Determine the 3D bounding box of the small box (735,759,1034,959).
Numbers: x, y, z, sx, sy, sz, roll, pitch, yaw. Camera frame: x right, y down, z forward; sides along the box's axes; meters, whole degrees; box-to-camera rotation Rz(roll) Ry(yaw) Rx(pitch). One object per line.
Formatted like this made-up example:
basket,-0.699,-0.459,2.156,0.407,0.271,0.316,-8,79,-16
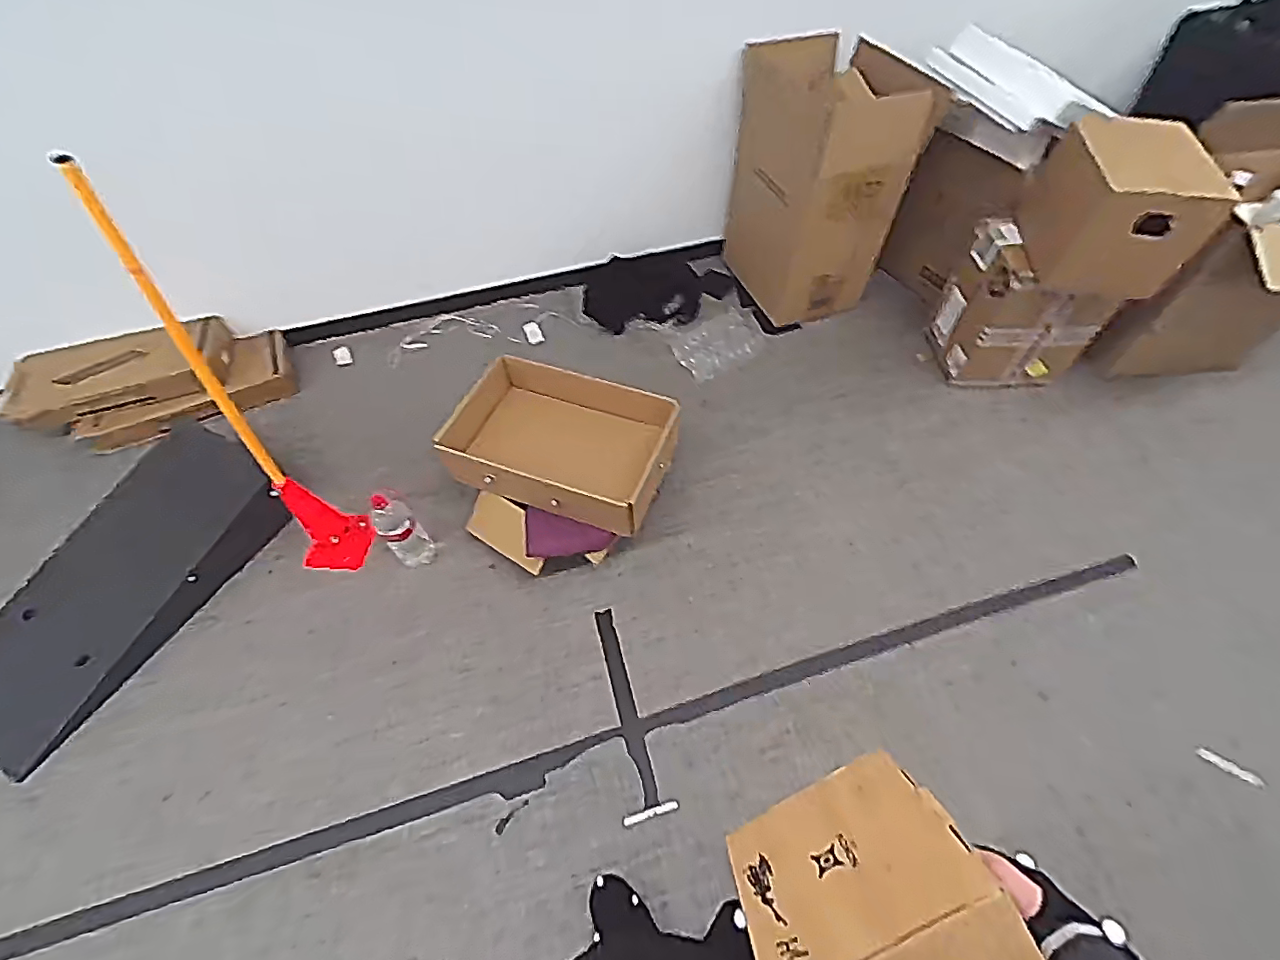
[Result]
small box,0.205,0.384,0.447,0.179,0.168,0.176,-28,92,0
